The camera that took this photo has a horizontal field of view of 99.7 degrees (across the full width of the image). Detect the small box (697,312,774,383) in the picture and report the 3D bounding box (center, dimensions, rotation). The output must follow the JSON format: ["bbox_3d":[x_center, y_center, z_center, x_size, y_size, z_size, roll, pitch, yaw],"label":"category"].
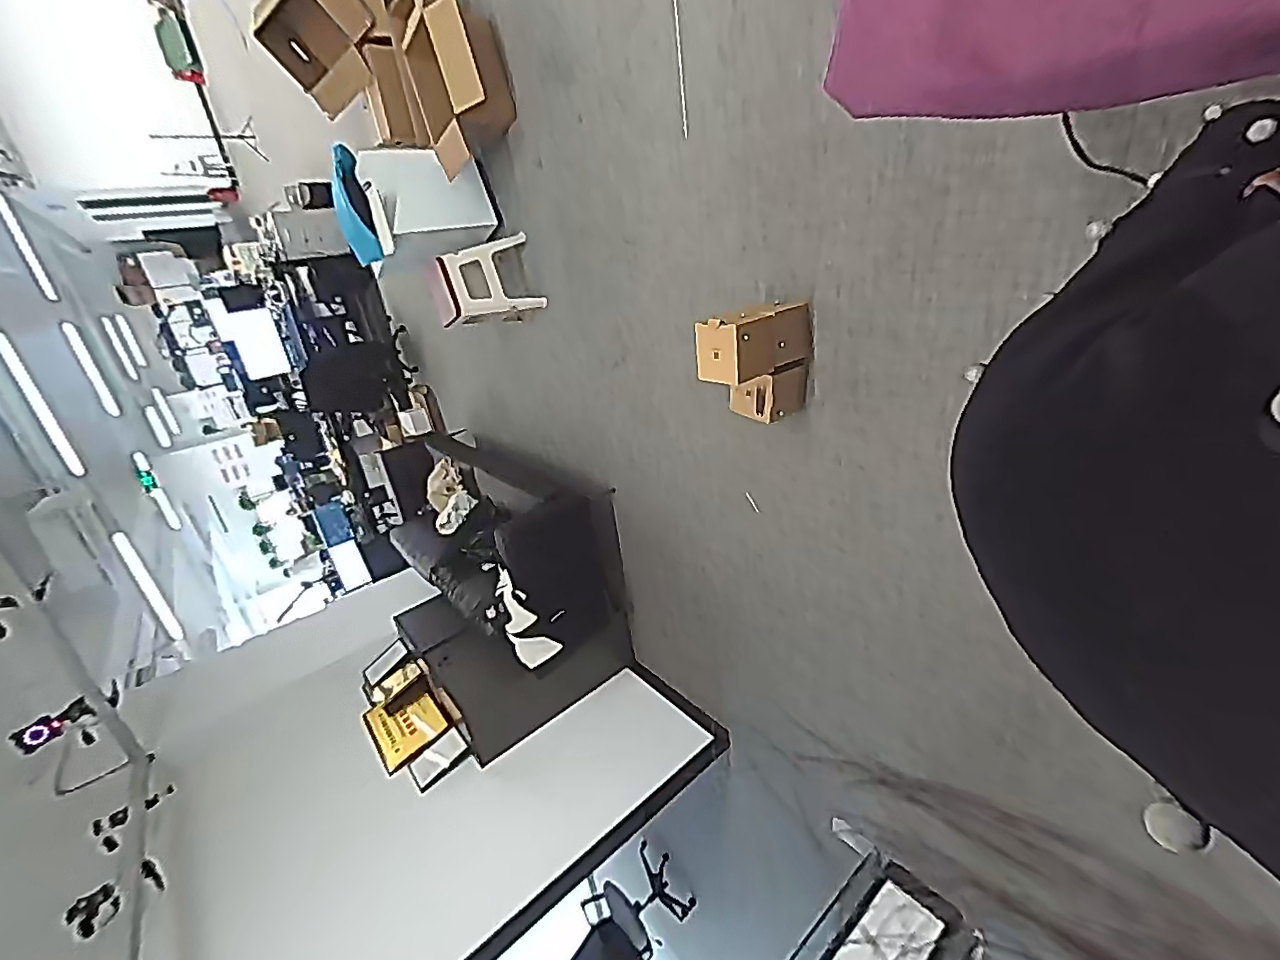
[{"bbox_3d":[0.293,-0.406,1.641,0.168,0.176,0.179,21,126,48],"label":"small box"}]
